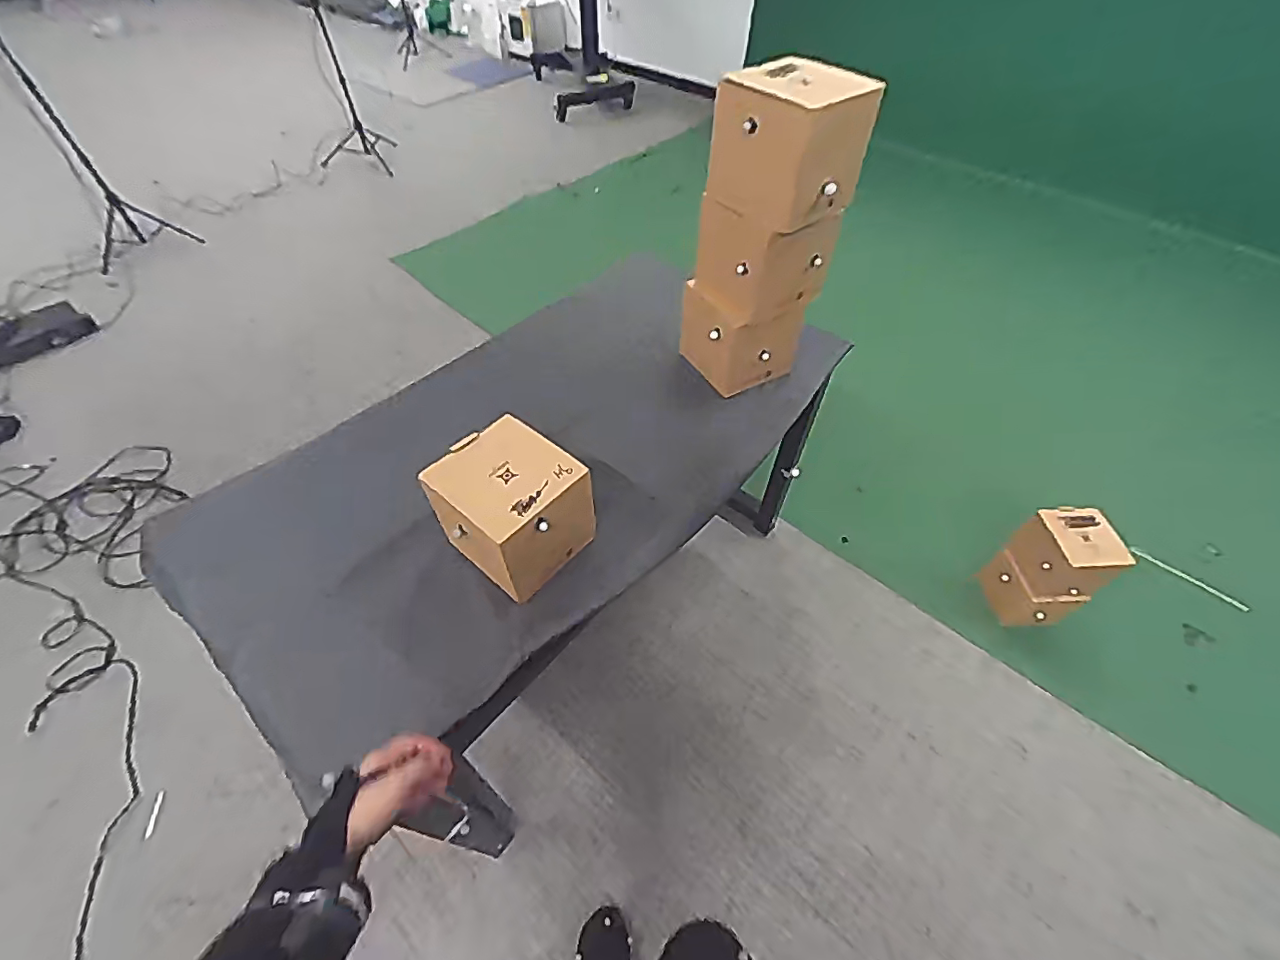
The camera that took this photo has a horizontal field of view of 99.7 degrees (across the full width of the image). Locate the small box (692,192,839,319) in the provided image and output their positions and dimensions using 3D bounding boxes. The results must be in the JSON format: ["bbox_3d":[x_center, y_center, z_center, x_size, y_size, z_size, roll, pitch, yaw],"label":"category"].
[{"bbox_3d":[0.209,-0.405,0.951,0.168,0.176,0.179,-27,55,-22],"label":"small box"}]

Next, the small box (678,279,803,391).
[{"bbox_3d":[0.189,-0.297,1.072,0.168,0.176,0.179,-23,53,-18],"label":"small box"}]

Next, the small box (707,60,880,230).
[{"bbox_3d":[0.220,-0.509,0.824,0.168,0.176,0.179,-33,59,-25],"label":"small box"}]

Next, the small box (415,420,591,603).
[{"bbox_3d":[-0.191,0.049,0.798,0.179,0.176,0.168,33,58,24],"label":"small box"}]

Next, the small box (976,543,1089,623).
[{"bbox_3d":[1.114,0.301,1.552,0.168,0.176,0.179,-3,51,-3],"label":"small box"}]
